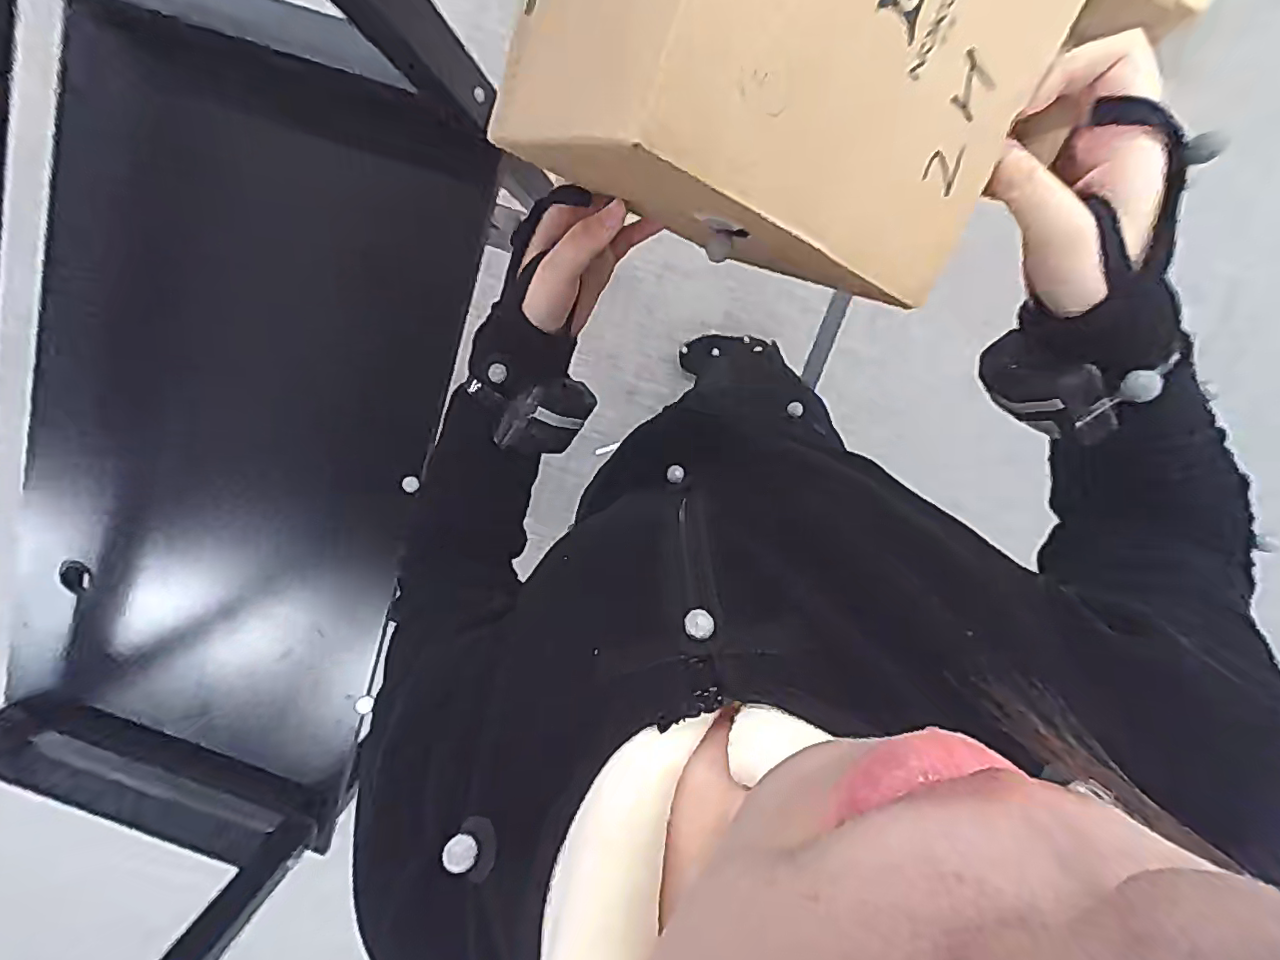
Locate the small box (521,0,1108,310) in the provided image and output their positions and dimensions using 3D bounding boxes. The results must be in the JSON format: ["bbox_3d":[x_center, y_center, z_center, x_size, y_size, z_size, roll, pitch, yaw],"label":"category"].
[{"bbox_3d":[0.065,-0.200,0.248,0.179,0.176,0.168,10,113,-36],"label":"small box"}]

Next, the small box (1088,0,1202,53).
[{"bbox_3d":[1.049,-1.037,1.112,0.168,0.176,0.179,23,102,-1],"label":"small box"}]
